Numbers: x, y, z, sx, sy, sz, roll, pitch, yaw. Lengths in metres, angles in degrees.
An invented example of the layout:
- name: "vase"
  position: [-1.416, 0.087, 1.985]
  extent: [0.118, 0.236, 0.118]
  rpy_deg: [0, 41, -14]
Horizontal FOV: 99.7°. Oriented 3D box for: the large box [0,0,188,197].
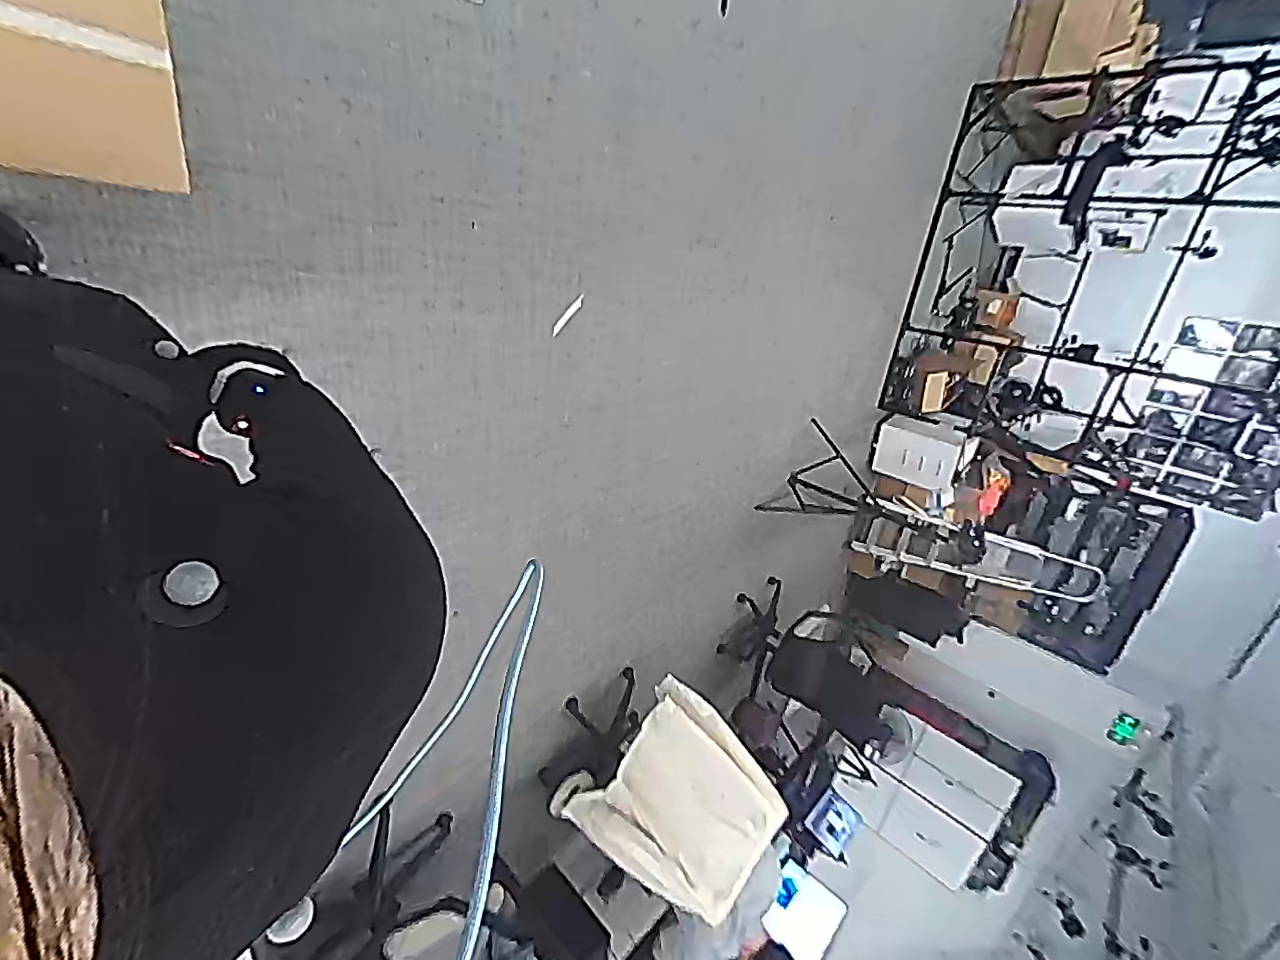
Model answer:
- name: "large box"
  position: [-0.869, -0.554, 0.666]
  extent: [0.408, 0.320, 0.320]
  rpy_deg: [-15, 122, -45]
